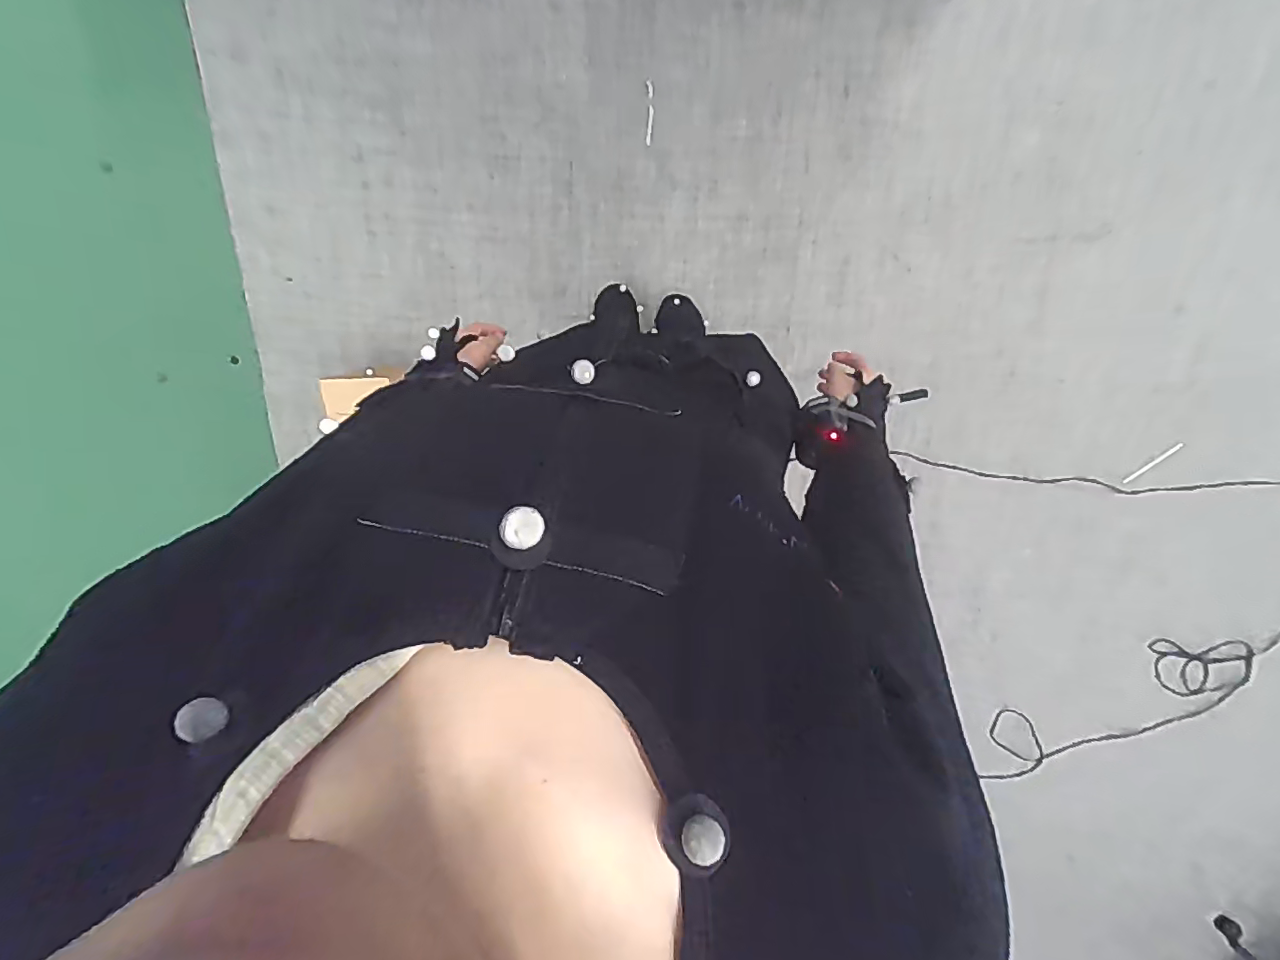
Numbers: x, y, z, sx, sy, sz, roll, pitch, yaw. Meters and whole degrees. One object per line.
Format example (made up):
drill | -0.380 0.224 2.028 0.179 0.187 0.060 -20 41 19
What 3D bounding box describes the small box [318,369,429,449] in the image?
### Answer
small box | -0.634 -0.177 1.316 0.179 0.176 0.168 0 108 6
